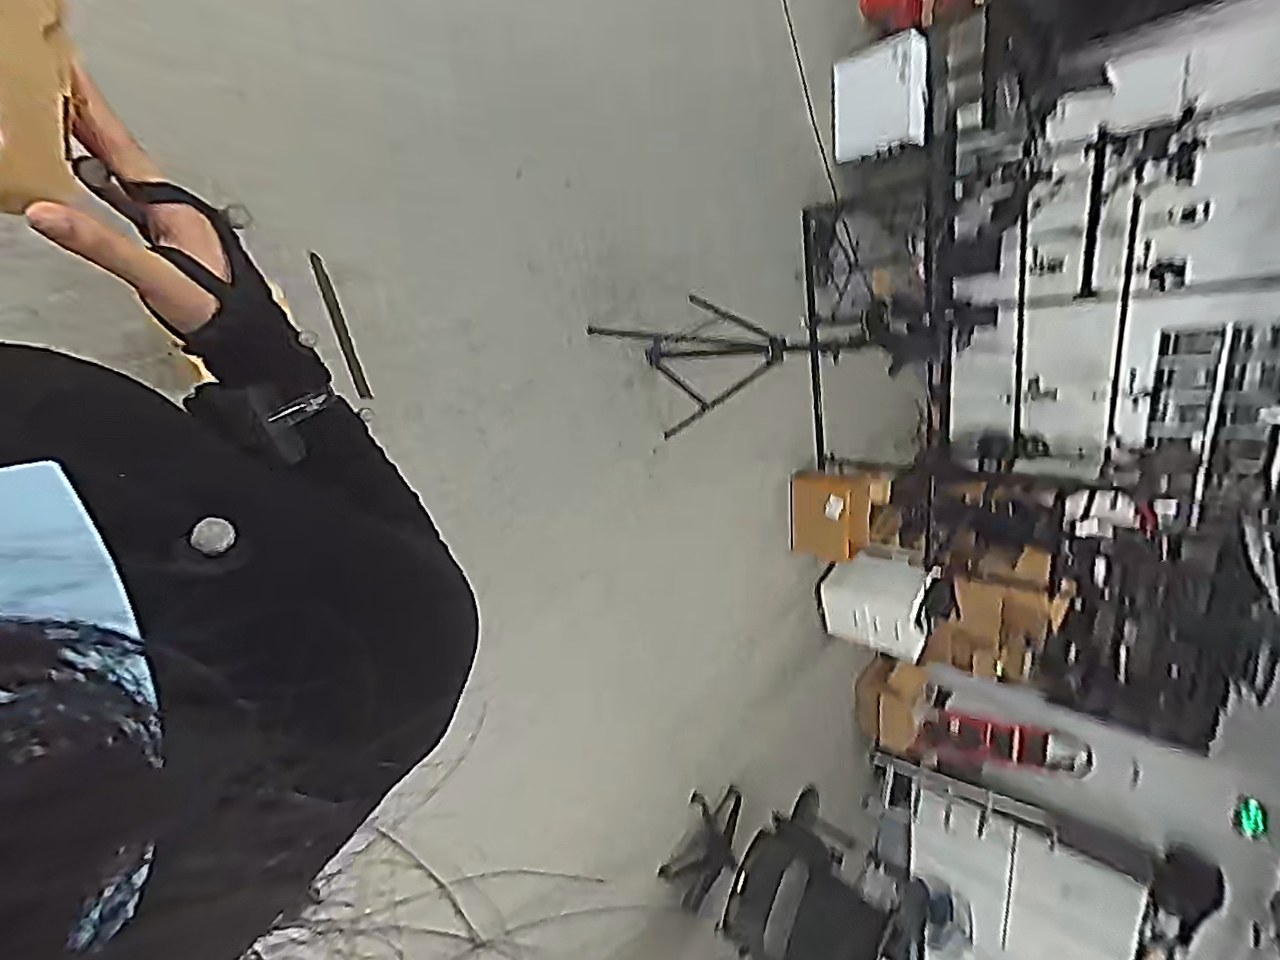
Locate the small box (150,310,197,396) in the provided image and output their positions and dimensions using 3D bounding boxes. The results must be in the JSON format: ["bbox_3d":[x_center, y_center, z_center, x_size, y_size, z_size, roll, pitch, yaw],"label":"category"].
[{"bbox_3d":[-0.882,-0.277,1.130,0.179,0.176,0.168,-32,119,-39],"label":"small box"}]

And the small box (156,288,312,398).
[{"bbox_3d":[-0.764,-0.258,1.019,0.179,0.176,0.168,-29,117,-39],"label":"small box"}]
